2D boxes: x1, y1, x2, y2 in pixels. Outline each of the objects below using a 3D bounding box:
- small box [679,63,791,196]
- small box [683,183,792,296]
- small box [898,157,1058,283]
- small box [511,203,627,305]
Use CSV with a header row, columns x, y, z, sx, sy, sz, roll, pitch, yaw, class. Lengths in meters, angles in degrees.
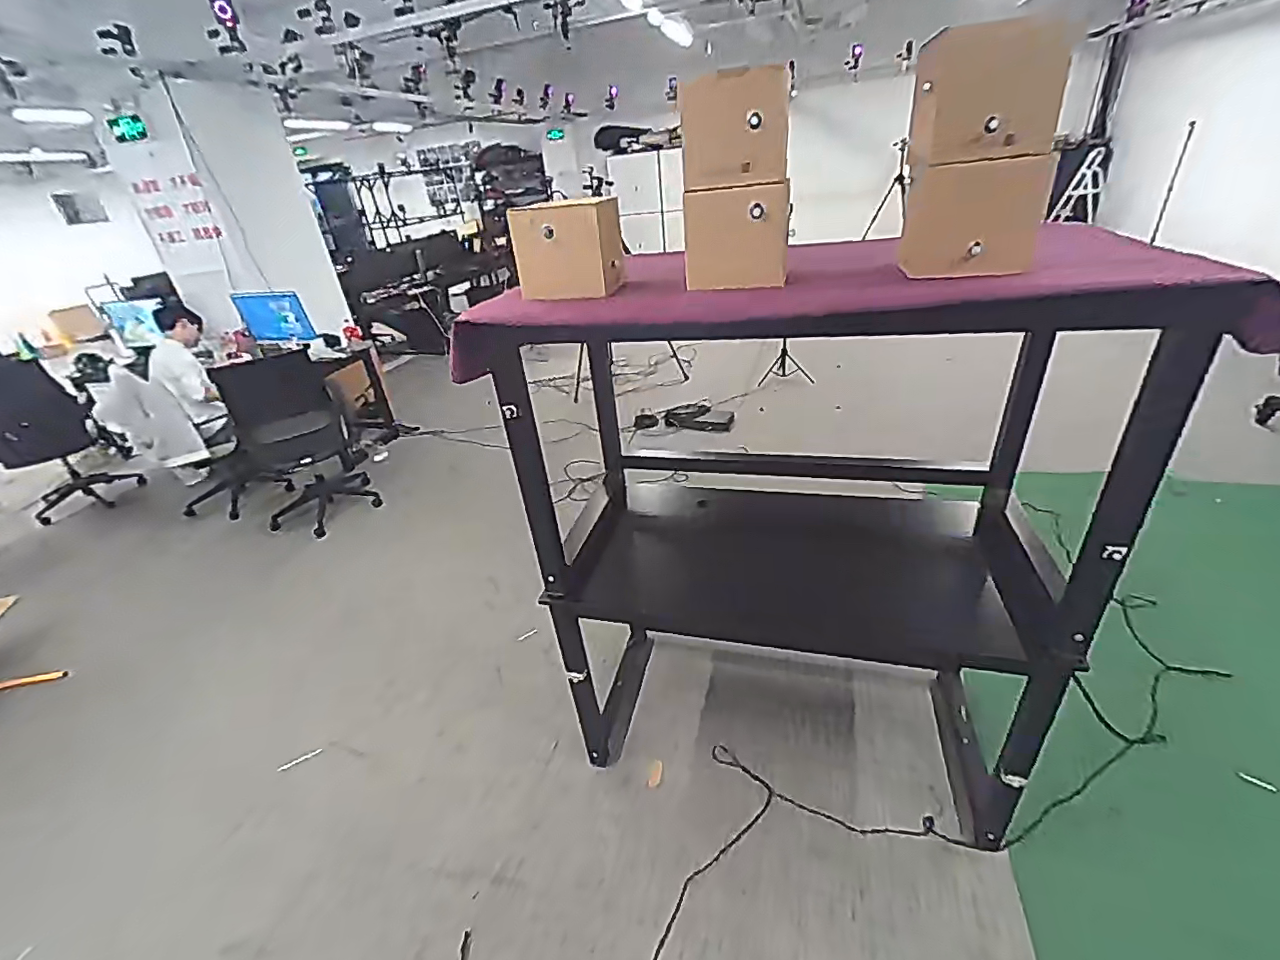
x,y,z,sx,sy,sz,roll,pitch,yaw,class
0.171,-0.593,0.935,0.168,0.176,0.179,4,30,16,small box
0.187,-0.447,1.007,0.179,0.176,0.168,3,30,17,small box
0.544,-0.430,0.899,0.179,0.176,0.168,3,29,16,small box
-0.133,-0.455,1.092,0.179,0.176,0.168,2,30,14,small box
